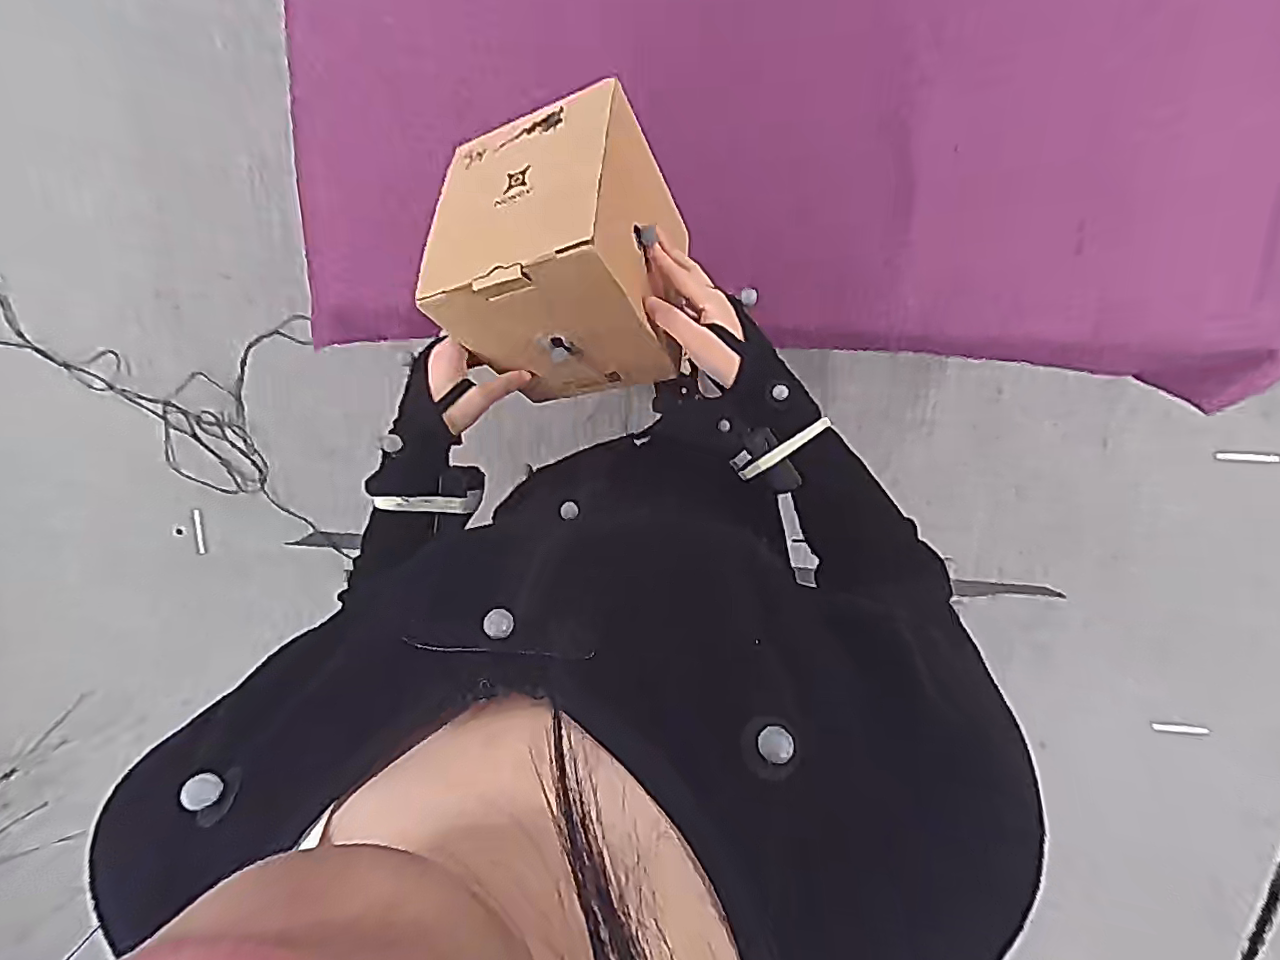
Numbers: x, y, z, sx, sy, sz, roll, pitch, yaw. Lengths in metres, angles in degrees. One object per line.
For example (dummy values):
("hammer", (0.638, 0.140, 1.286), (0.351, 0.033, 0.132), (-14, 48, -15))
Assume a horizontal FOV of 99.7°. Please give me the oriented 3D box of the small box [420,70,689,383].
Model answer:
("small box", (-0.061, -0.203, 0.489), (0.168, 0.176, 0.179), (-6, 66, 24))
